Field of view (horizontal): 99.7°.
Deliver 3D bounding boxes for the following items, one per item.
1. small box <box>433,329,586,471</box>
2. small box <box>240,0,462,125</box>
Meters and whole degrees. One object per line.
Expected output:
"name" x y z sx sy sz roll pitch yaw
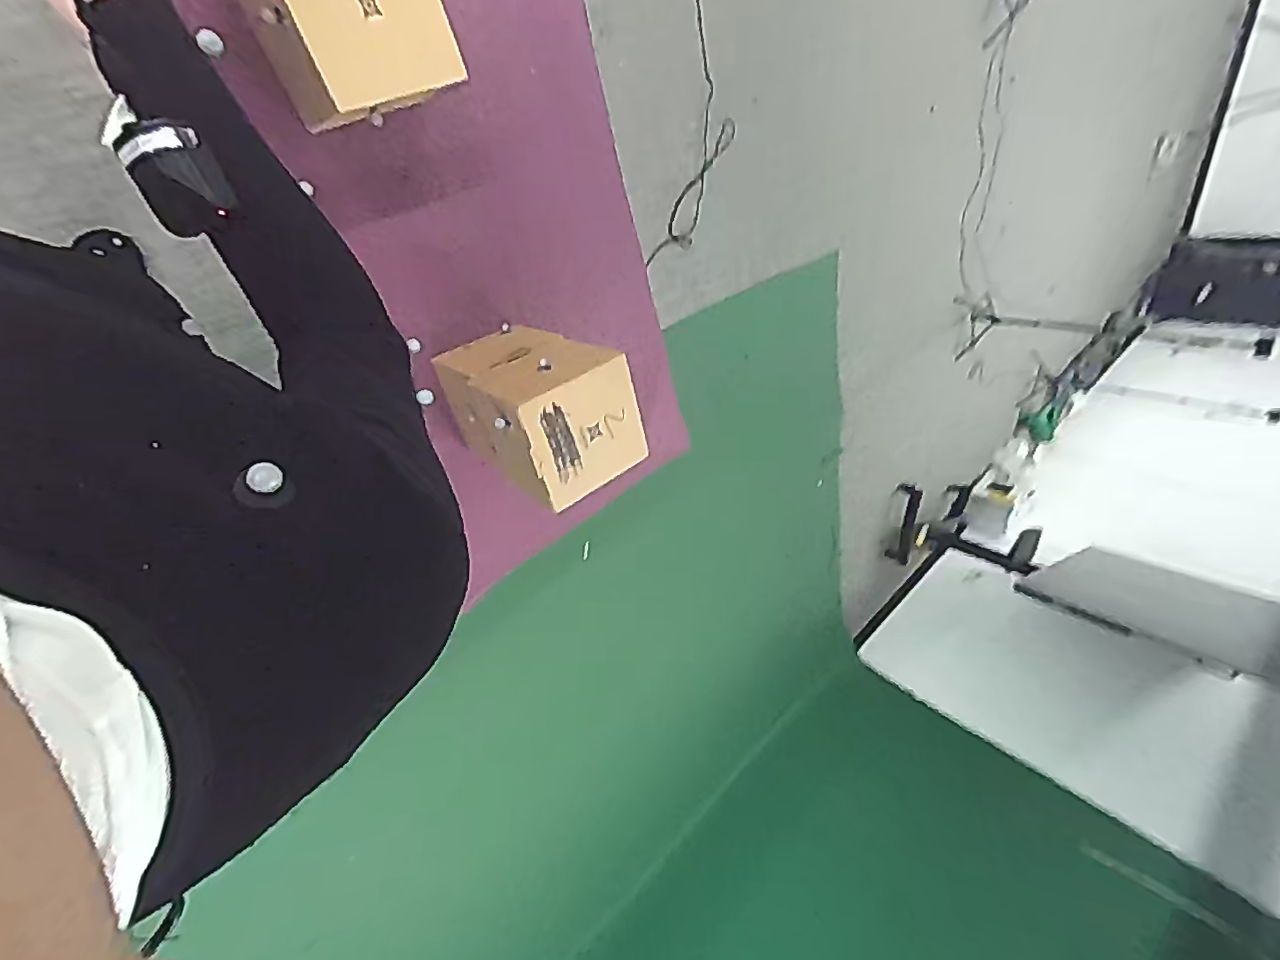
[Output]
"small box" -0.221 -0.146 0.914 0.168 0.176 0.179 -32 128 -27
"small box" -0.344 -0.538 0.632 0.168 0.176 0.179 -36 128 -24
